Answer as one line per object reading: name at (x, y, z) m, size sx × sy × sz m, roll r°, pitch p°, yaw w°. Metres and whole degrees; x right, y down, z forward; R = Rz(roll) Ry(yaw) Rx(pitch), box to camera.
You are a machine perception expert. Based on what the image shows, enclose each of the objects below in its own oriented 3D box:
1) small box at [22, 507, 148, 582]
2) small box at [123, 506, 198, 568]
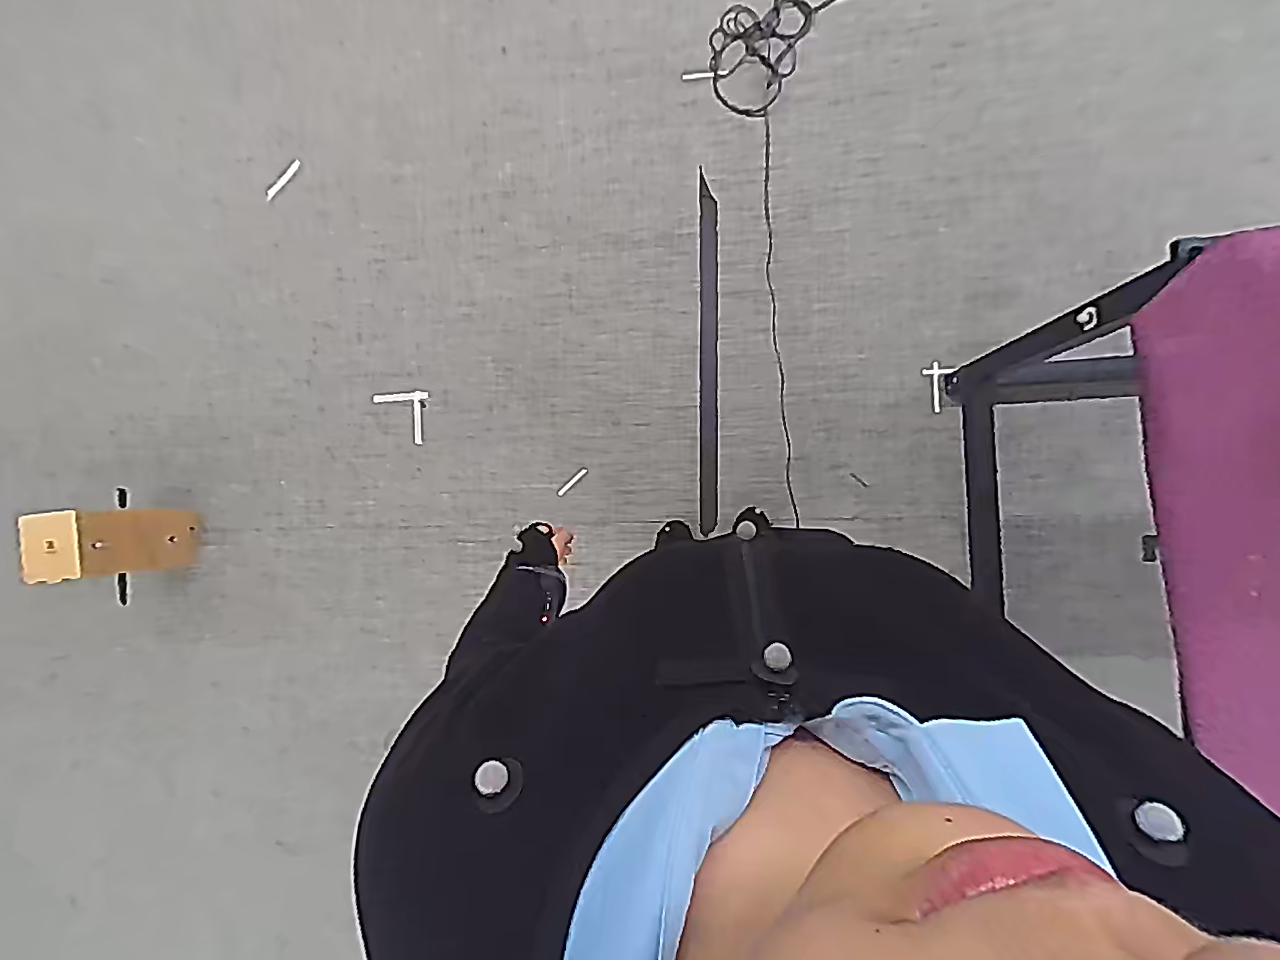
small box at (-1.472, 0.166, 1.443) m, size 0.168 × 0.176 × 0.179 m, roll -7°, pitch 88°, yaw 6°
small box at (-1.464, 0.165, 1.606) m, size 0.179 × 0.176 × 0.168 m, roll 2°, pitch 88°, yaw 7°
